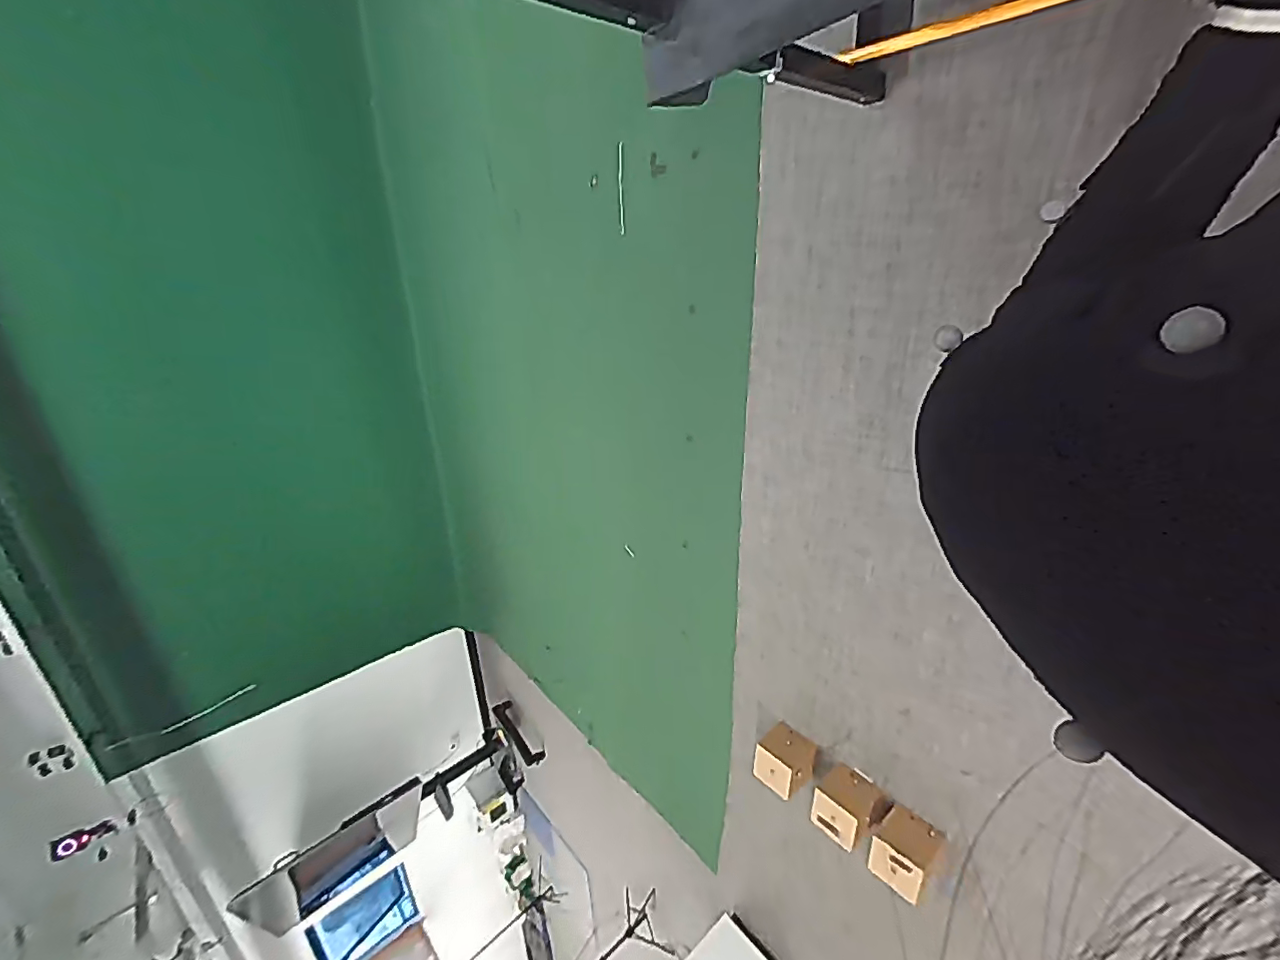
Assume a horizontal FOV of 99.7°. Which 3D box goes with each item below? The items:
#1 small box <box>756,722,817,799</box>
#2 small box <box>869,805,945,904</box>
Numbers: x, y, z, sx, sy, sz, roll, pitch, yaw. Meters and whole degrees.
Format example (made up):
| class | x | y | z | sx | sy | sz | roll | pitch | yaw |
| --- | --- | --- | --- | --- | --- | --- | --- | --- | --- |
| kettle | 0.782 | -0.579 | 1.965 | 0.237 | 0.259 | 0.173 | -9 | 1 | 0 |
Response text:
| class | x | y | z | sx | sy | sz | roll | pitch | yaw |
| --- | --- | --- | --- | --- | --- | --- | --- | --- | --- |
| small box | 0.583 | 1.104 | 2.145 | 0.168 | 0.176 | 0.179 | 24 | 124 | 45 |
| small box | 0.895 | 1.240 | 1.806 | 0.168 | 0.176 | 0.179 | 22 | 123 | 45 |
